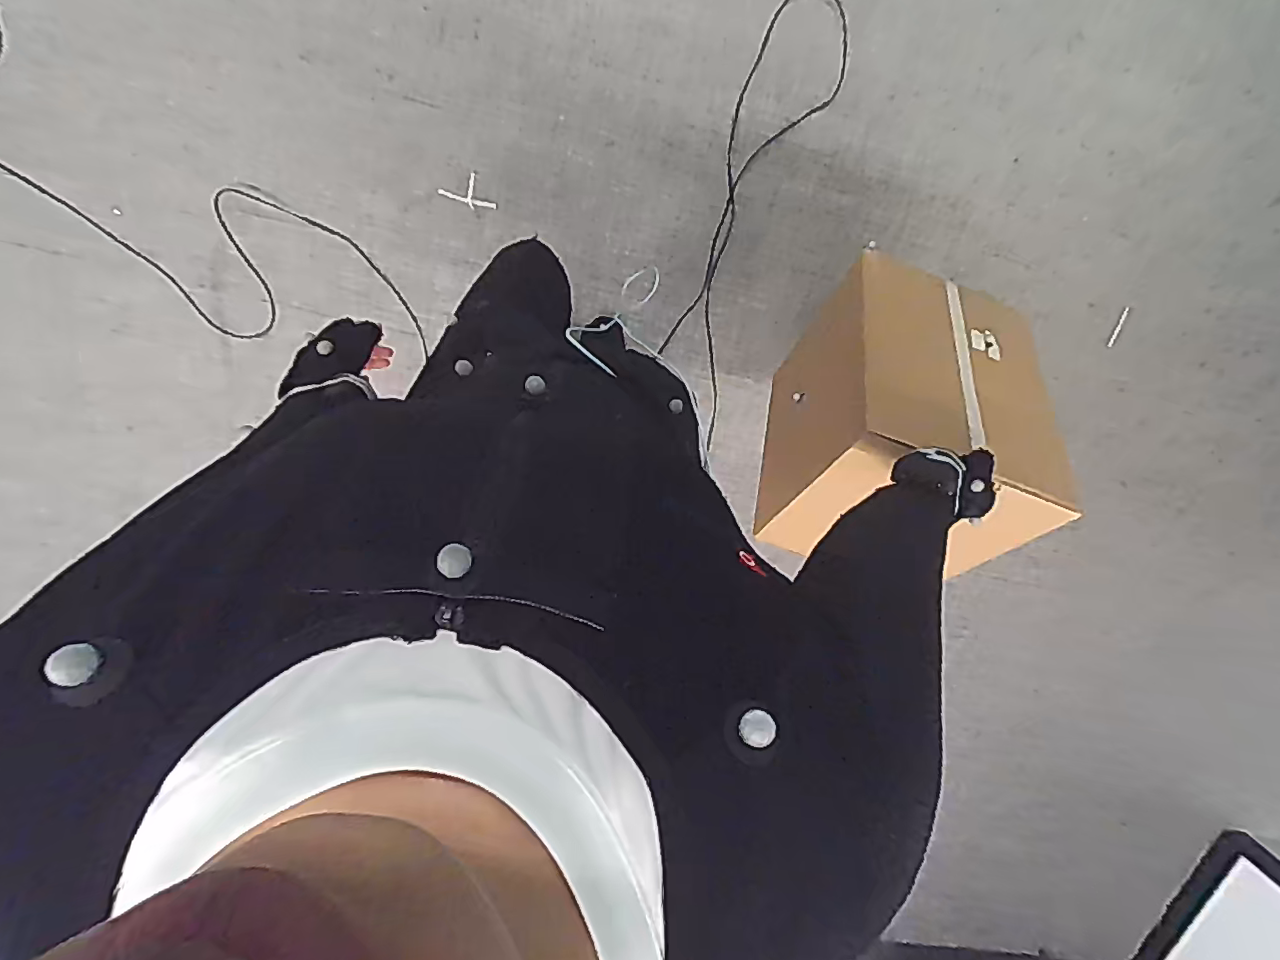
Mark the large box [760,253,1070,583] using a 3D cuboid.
[{"bbox_3d":[0.420,-0.093,0.918,0.320,0.408,0.320,20,146,-6],"label":"large box"}]
